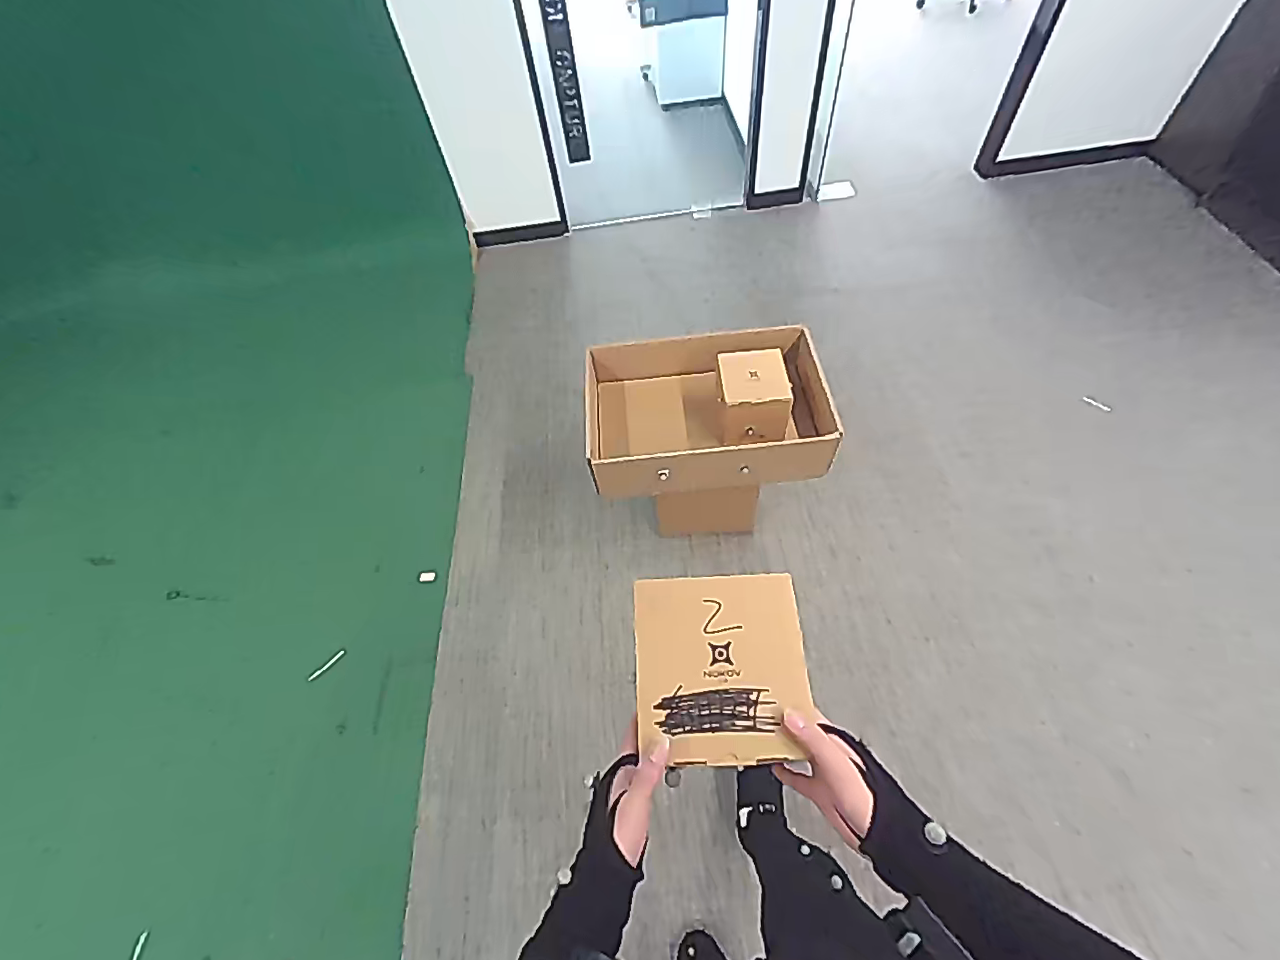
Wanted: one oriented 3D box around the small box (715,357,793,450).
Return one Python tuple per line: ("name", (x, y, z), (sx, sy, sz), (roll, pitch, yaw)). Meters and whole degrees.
("small box", (0.291, -0.199, 1.420), (0.168, 0.176, 0.179), (-4, 56, 1))
